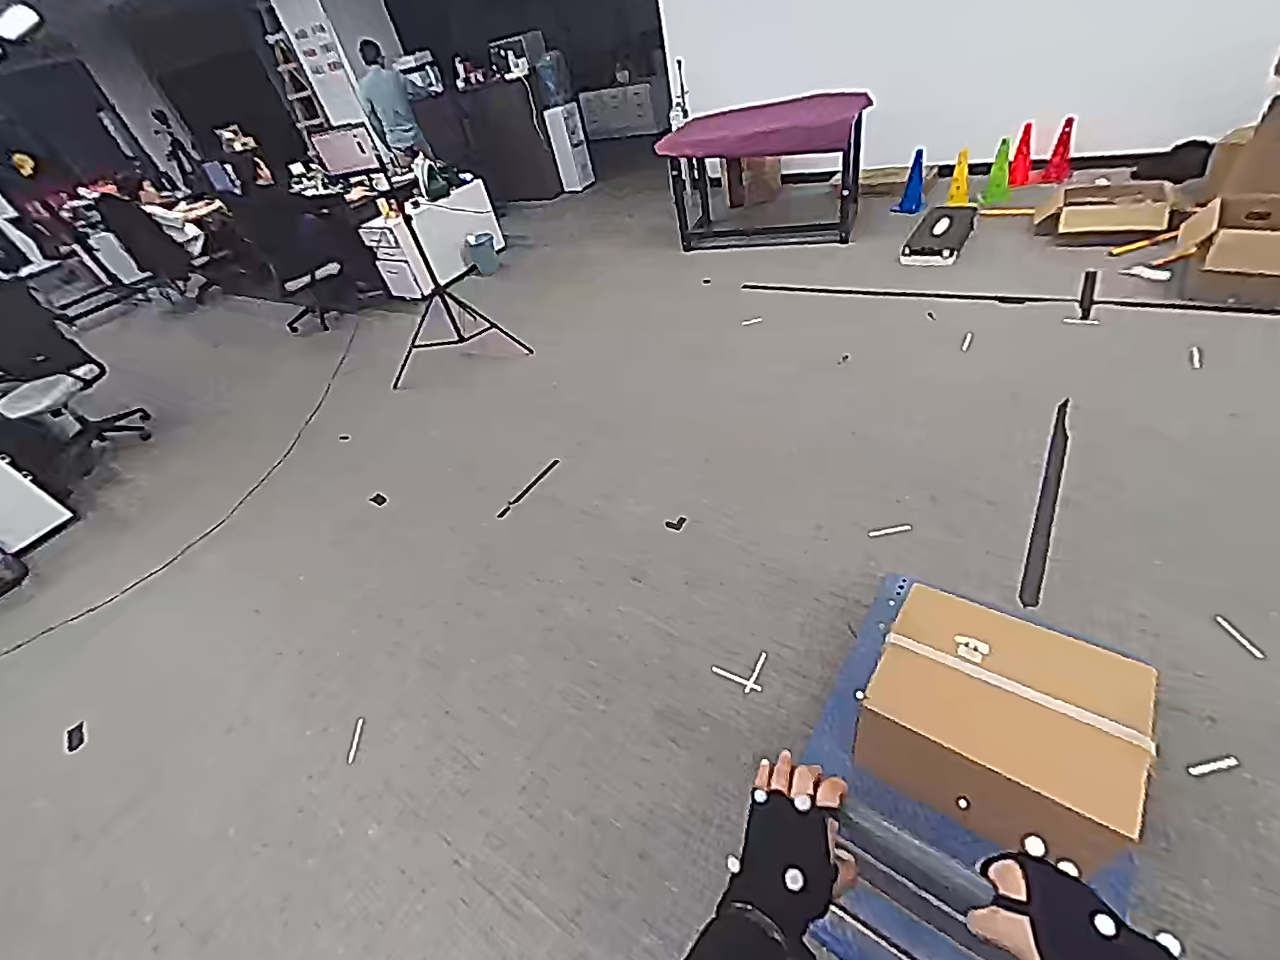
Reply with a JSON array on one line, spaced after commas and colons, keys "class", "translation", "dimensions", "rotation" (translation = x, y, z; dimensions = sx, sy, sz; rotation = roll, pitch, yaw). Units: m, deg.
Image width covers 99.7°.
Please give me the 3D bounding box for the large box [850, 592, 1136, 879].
[{"class": "large box", "translation": [0.680, 0.496, 1.091], "dimensions": [0.408, 0.320, 0.320], "rotation": [18, 51, 34]}]
